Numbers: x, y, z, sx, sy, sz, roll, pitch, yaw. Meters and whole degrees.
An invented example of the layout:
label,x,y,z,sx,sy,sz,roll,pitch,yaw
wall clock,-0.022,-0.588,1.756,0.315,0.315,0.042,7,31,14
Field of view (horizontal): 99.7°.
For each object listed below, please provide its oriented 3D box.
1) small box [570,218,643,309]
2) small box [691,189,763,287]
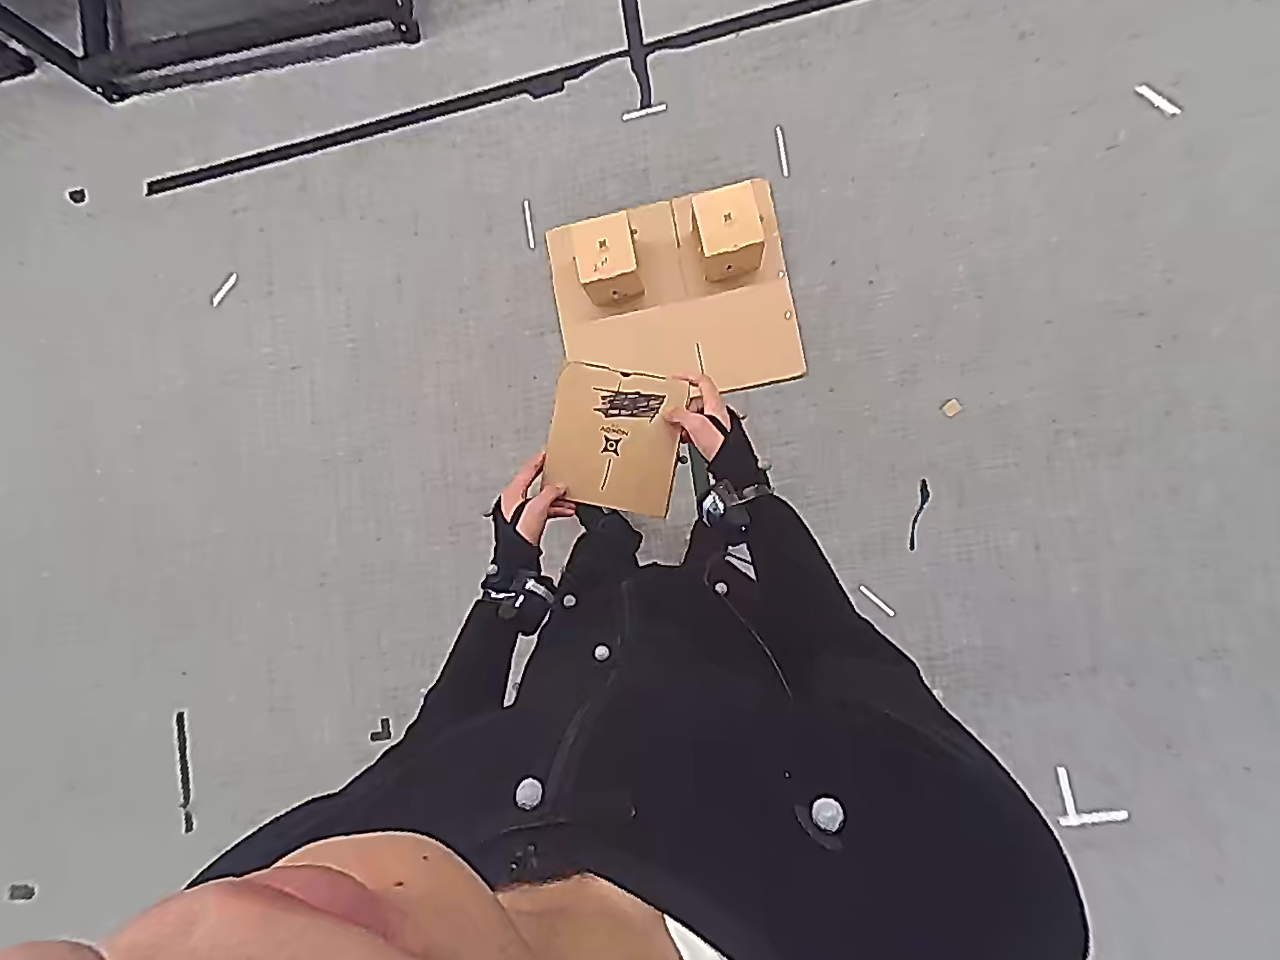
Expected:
label,x,y,z,sx,sy,sz,roll,pitch,yaw
small box,-0.094,-0.625,1.579,0.168,0.176,0.179,-11,87,8
small box,0.244,-0.684,1.546,0.168,0.176,0.179,-14,86,7
